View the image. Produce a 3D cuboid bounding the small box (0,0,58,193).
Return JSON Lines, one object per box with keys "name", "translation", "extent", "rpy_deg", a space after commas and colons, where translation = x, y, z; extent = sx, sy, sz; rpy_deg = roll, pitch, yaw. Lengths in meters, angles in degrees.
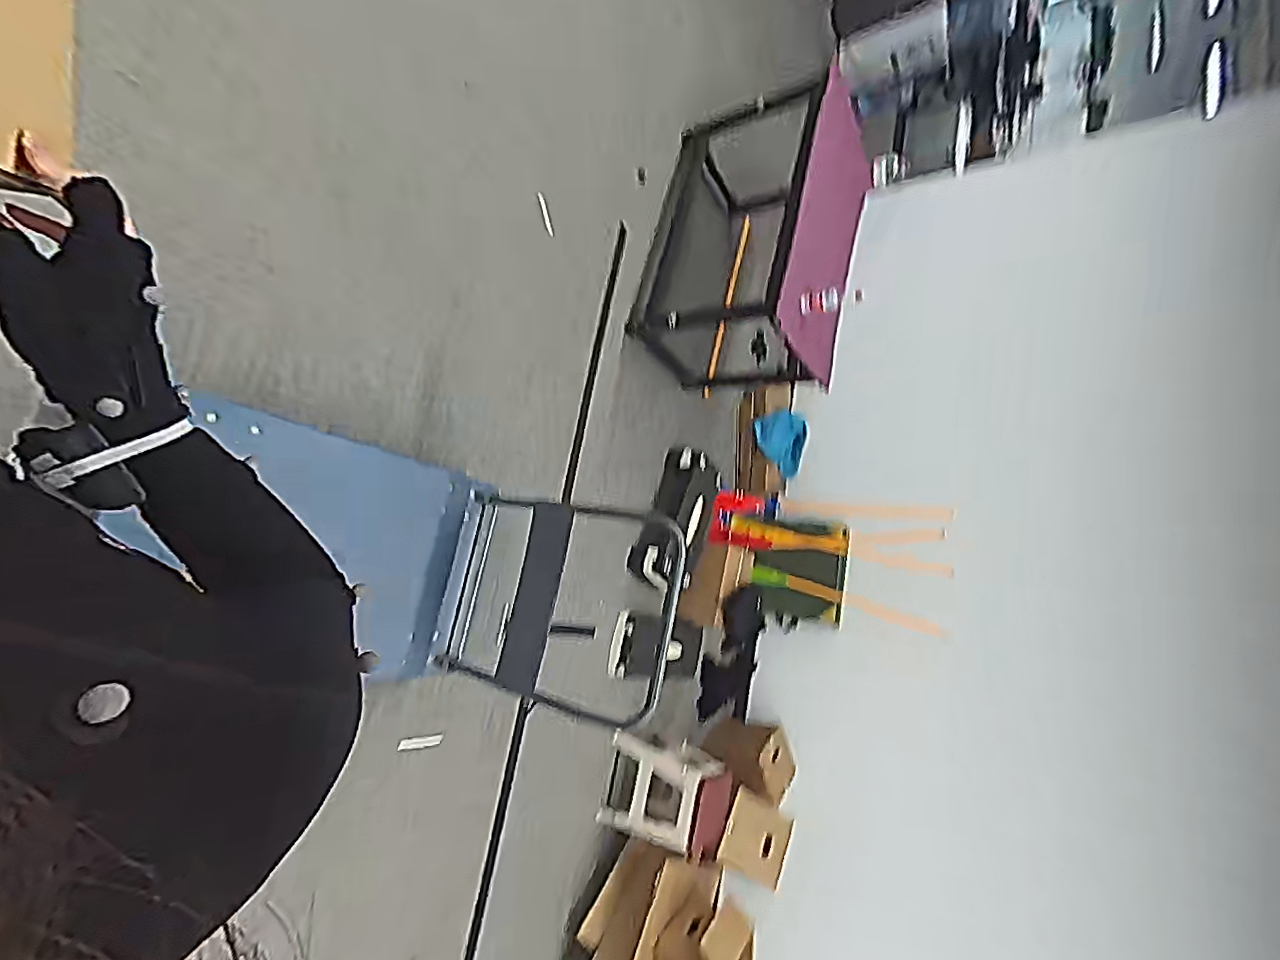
{"name": "small box", "translation": [-0.431, -0.257, 0.240], "extent": [0.179, 0.168, 0.176], "rpy_deg": [-104, -160, -81]}
